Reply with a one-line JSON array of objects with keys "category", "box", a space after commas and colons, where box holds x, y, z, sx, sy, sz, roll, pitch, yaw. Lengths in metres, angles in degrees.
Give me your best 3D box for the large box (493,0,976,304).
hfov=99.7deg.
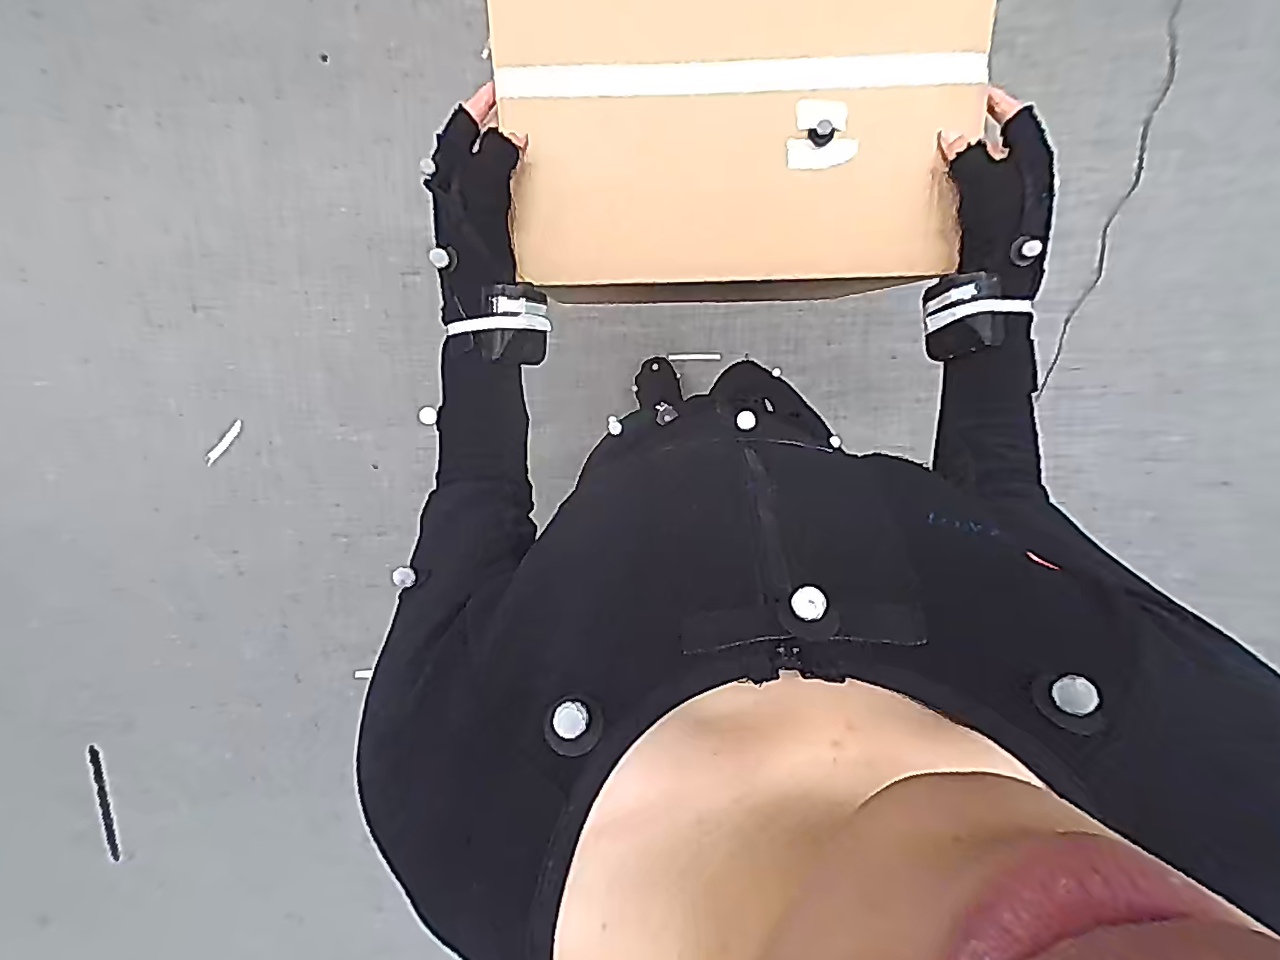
[{"category": "large box", "box": [0.076, -0.376, 0.602, 0.408, 0.320, 0.320, -2, 105, 0]}]
